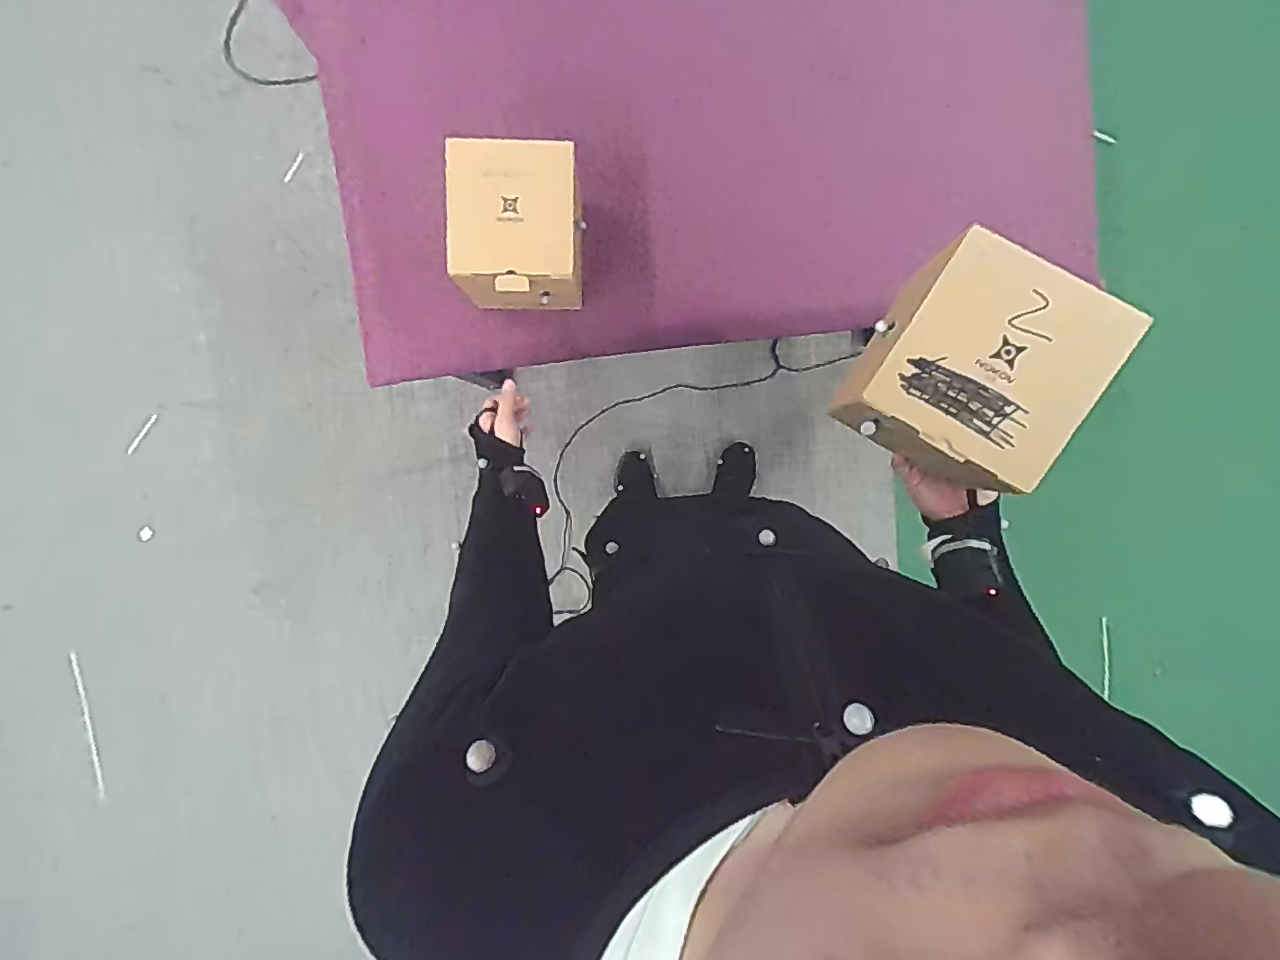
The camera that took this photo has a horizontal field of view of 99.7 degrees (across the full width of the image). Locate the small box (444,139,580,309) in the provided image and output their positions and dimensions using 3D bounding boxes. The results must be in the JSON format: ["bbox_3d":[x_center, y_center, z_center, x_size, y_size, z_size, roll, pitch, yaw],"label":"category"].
[{"bbox_3d":[-0.174,-0.354,0.782,0.168,0.176,0.179,1,92,-3],"label":"small box"}]
